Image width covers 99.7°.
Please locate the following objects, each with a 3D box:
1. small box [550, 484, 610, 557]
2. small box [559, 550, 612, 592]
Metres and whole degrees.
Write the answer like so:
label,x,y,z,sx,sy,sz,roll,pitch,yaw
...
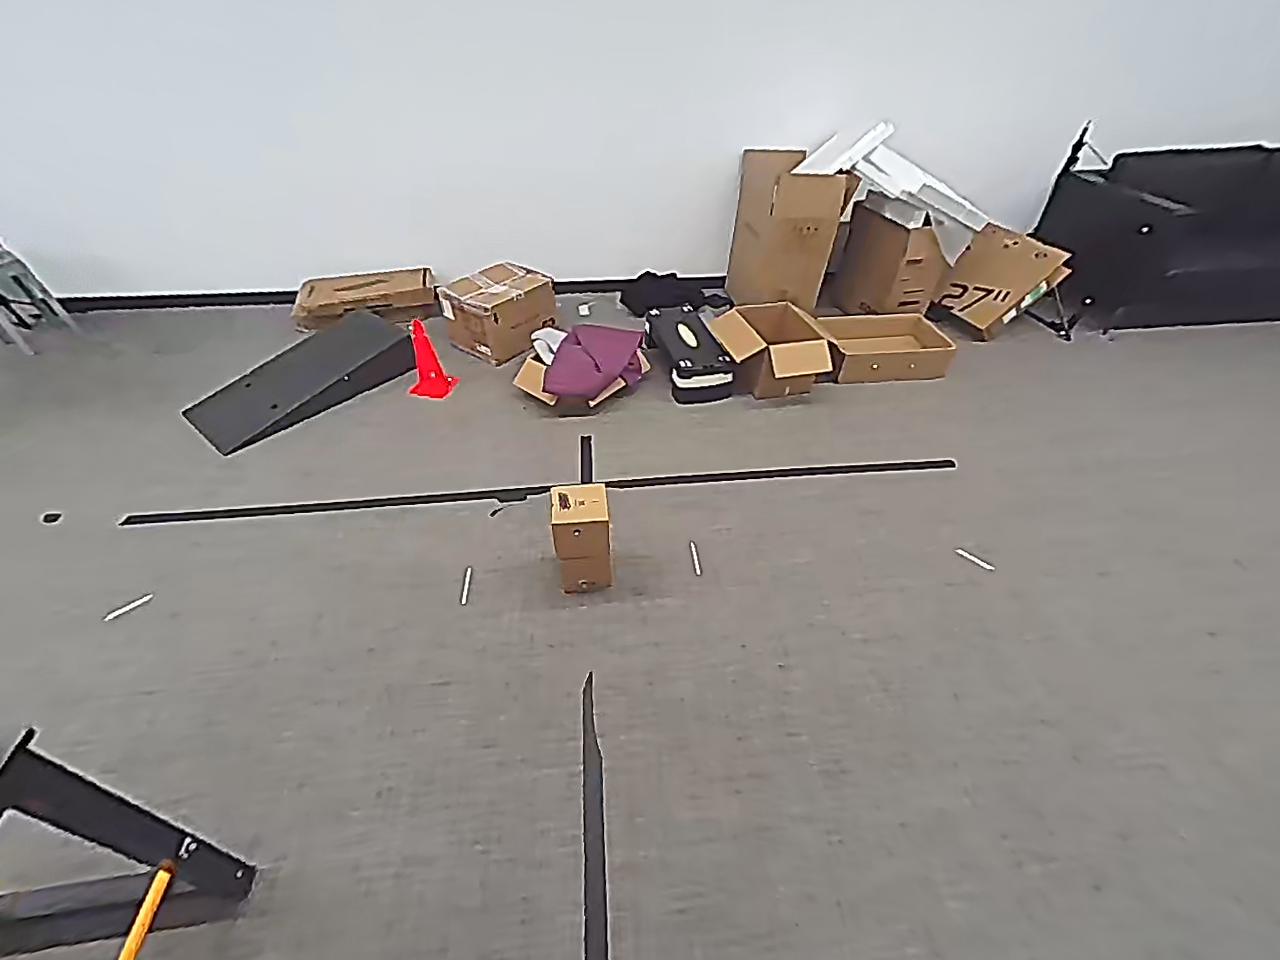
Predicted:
label,x,y,z,sx,sy,sz,roll,pitch,yaw
small box,-0.190,0.133,1.733,0.179,0.176,0.168,-4,43,-5
small box,-0.191,0.255,1.843,0.168,0.176,0.179,-8,44,-8
